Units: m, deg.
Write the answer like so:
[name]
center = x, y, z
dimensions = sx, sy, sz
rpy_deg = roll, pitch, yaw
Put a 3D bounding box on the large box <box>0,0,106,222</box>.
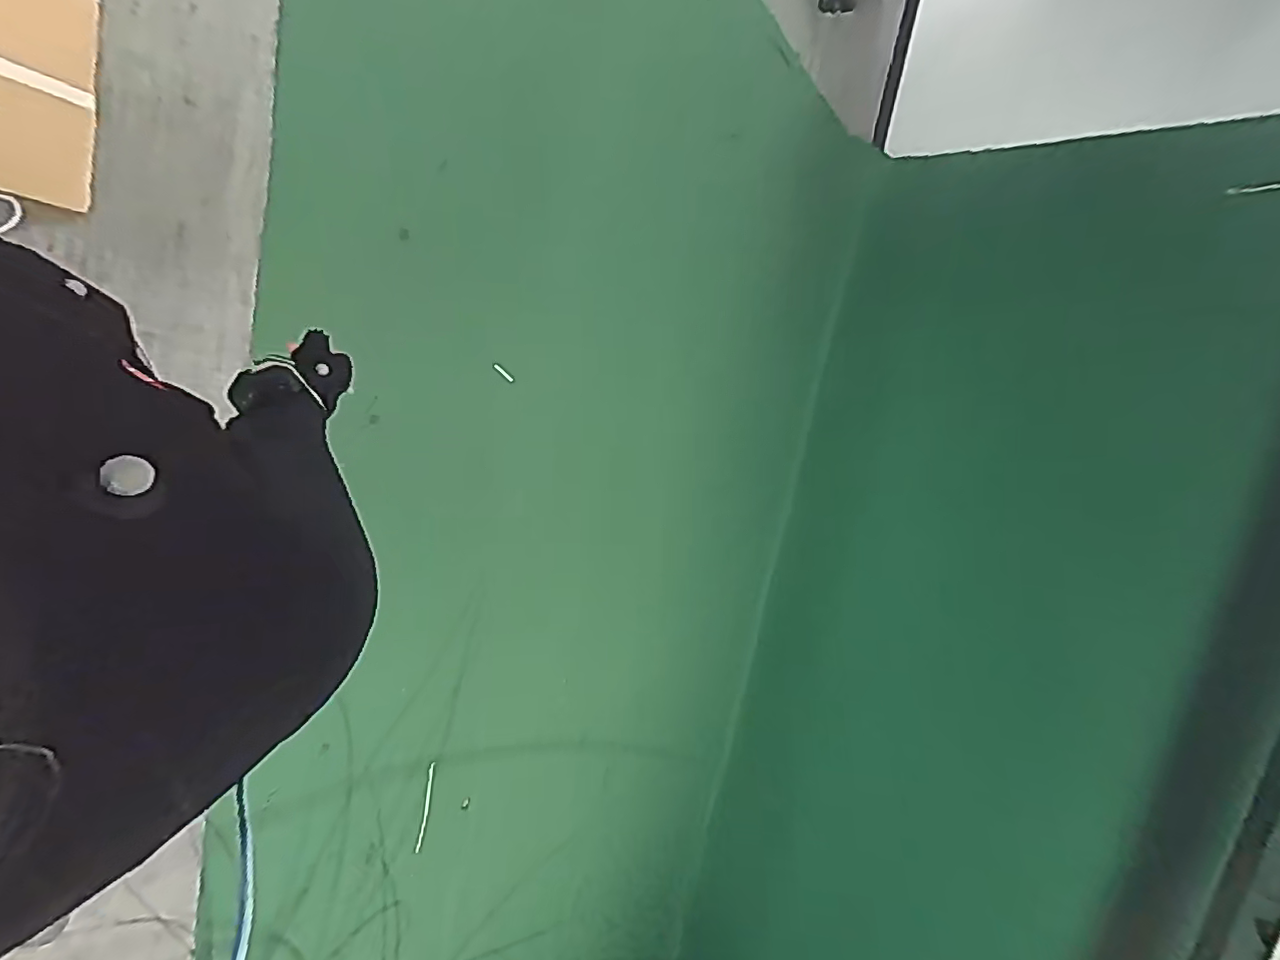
[large box]
center = -1.033, -0.588, 0.730
dimensions = 0.408, 0.320, 0.320
rpy_deg = 2, 103, -52
